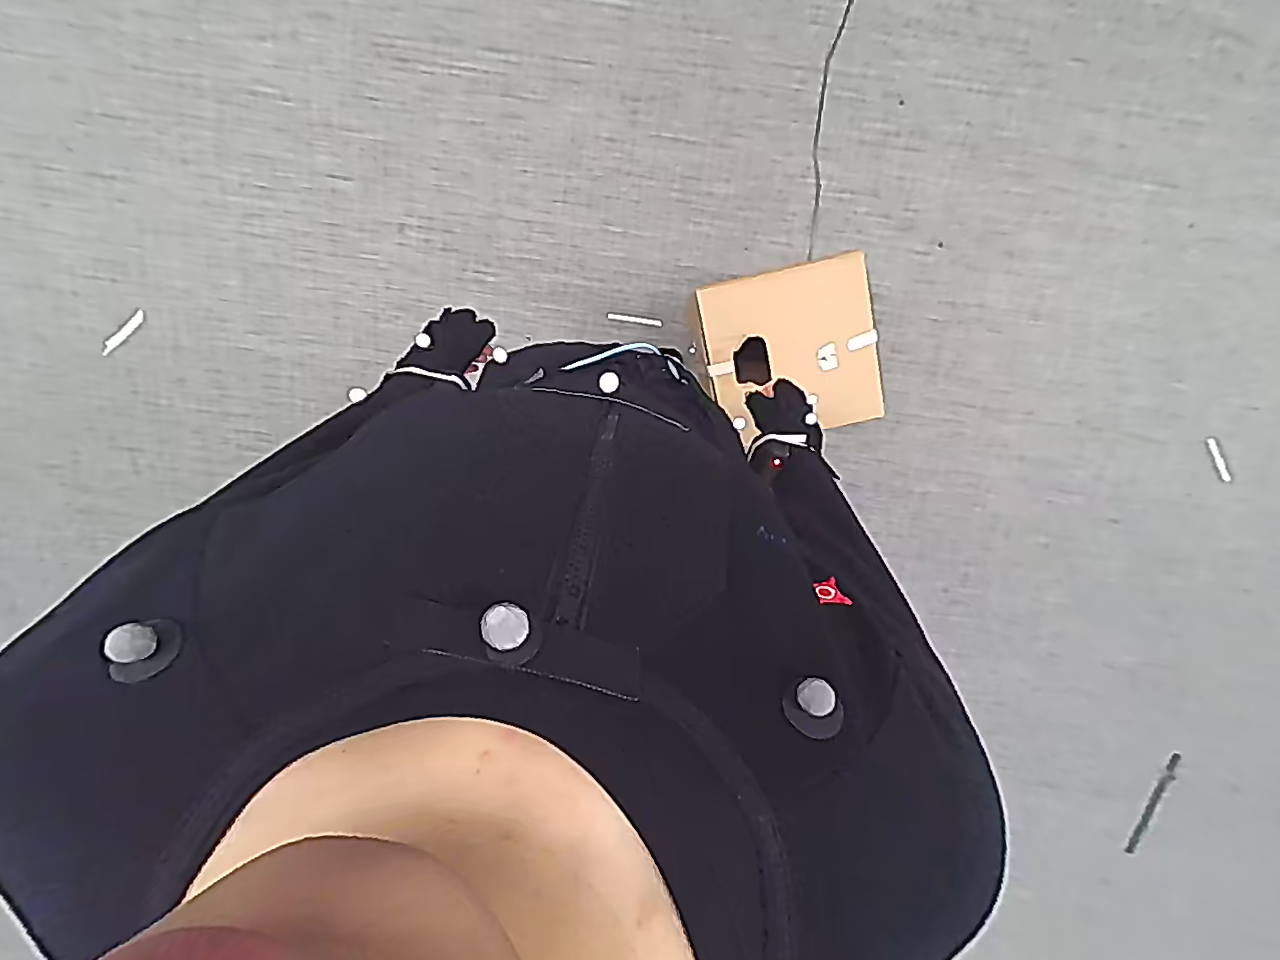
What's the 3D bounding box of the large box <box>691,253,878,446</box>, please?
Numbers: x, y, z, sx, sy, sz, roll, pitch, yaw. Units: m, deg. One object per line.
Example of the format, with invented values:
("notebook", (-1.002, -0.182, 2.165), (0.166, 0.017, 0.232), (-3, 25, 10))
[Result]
("large box", (0.298, -0.284, 1.219), (0.320, 0.408, 0.320), (-11, 103, 7))
